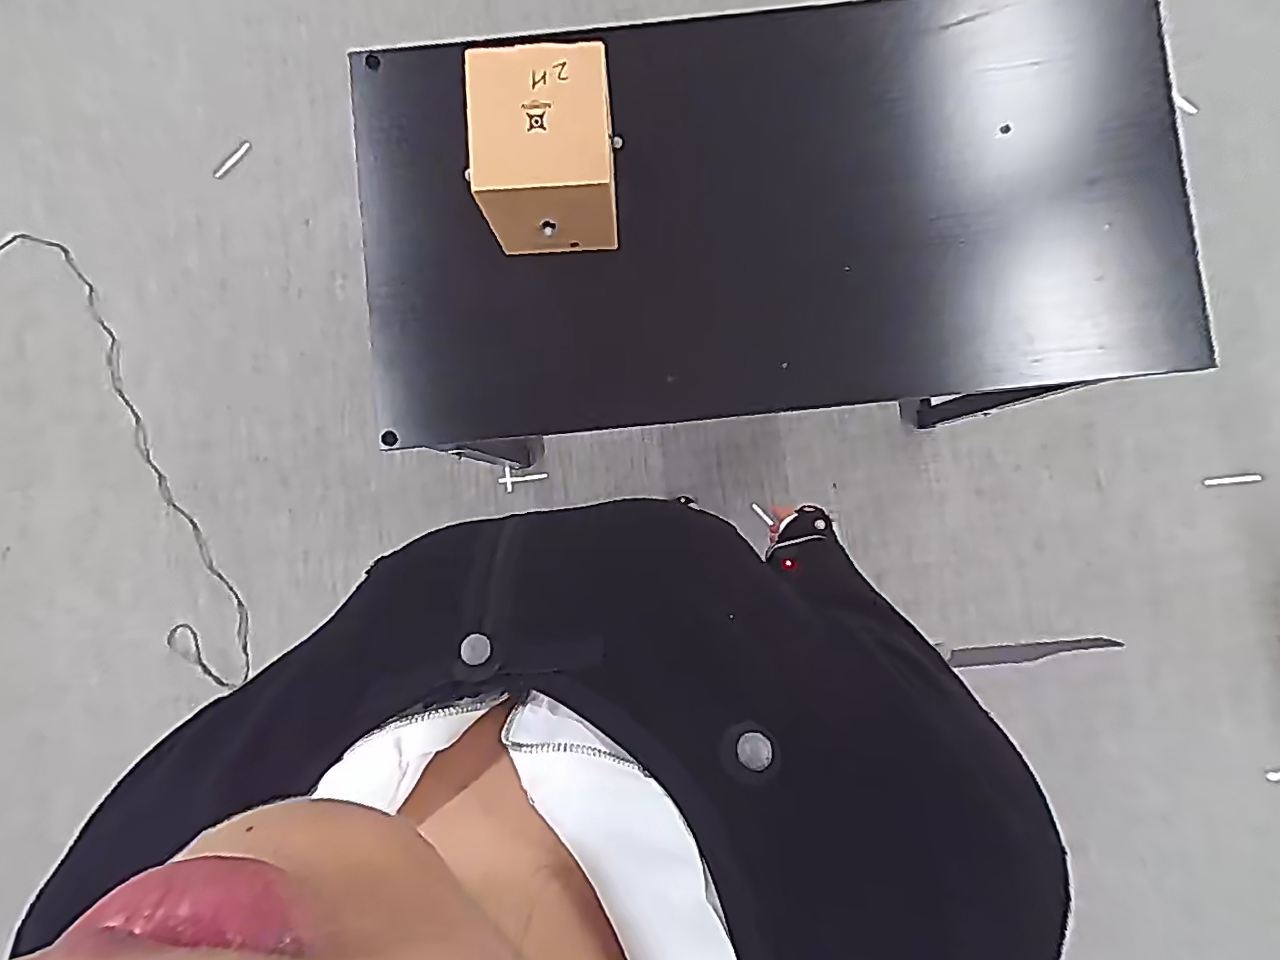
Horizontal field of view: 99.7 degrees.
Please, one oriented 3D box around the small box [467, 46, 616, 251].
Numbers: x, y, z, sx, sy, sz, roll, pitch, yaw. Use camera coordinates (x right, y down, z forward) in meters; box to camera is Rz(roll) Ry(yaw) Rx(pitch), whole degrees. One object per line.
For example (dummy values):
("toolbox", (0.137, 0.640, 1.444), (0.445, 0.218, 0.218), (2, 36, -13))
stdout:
("small box", (-0.121, -0.422, 0.721), (0.168, 0.176, 0.179), (-3, 87, 0))
